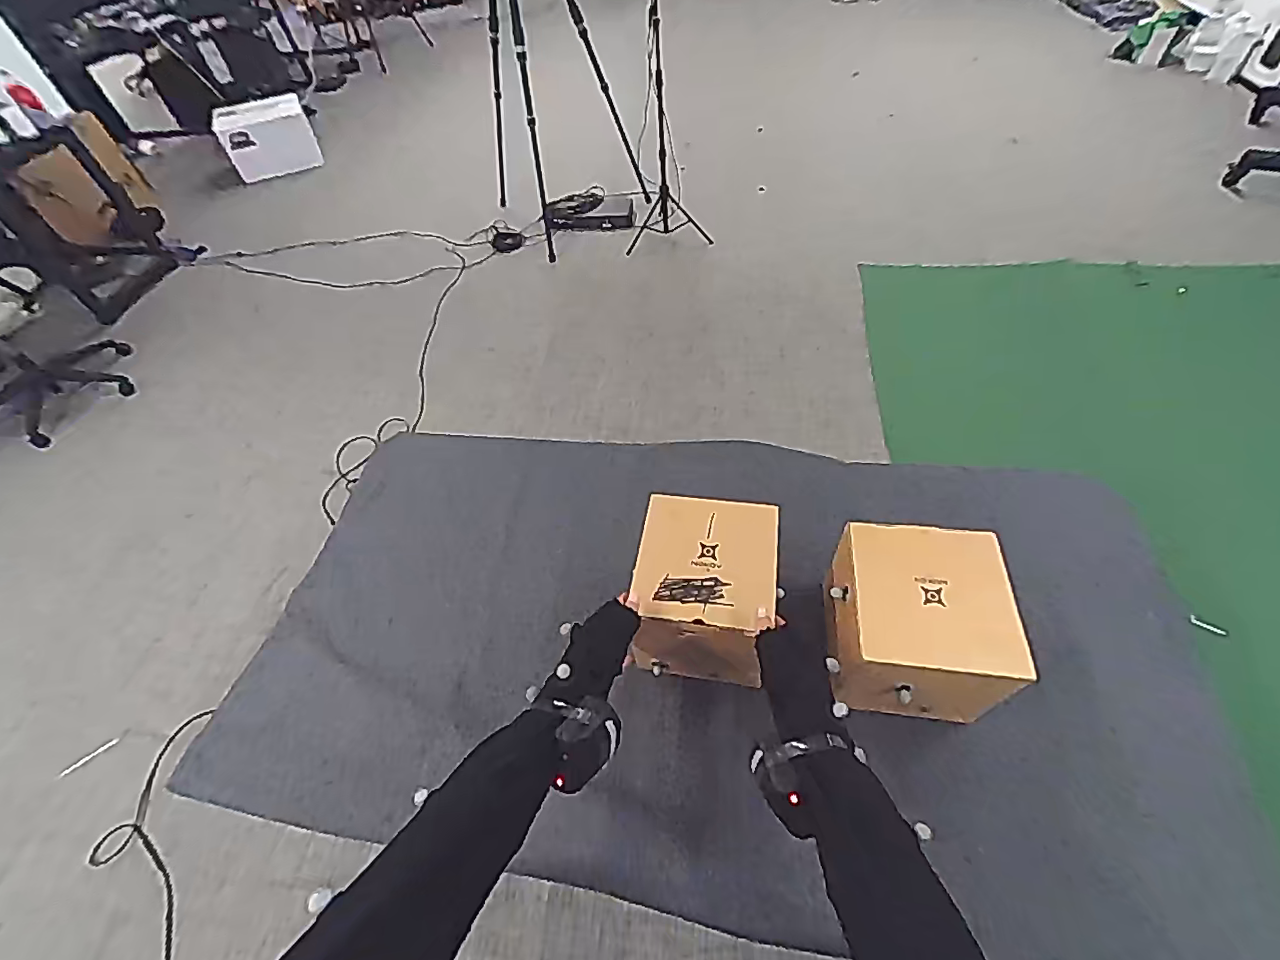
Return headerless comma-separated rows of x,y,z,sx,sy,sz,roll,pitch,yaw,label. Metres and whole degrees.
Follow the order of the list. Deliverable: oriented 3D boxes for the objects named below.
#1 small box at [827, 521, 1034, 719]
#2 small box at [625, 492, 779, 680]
0.327,0.172,0.652,0.168,0.176,0.179,4,52,10,small box
0.086,0.140,0.701,0.168,0.176,0.179,6,52,11,small box
